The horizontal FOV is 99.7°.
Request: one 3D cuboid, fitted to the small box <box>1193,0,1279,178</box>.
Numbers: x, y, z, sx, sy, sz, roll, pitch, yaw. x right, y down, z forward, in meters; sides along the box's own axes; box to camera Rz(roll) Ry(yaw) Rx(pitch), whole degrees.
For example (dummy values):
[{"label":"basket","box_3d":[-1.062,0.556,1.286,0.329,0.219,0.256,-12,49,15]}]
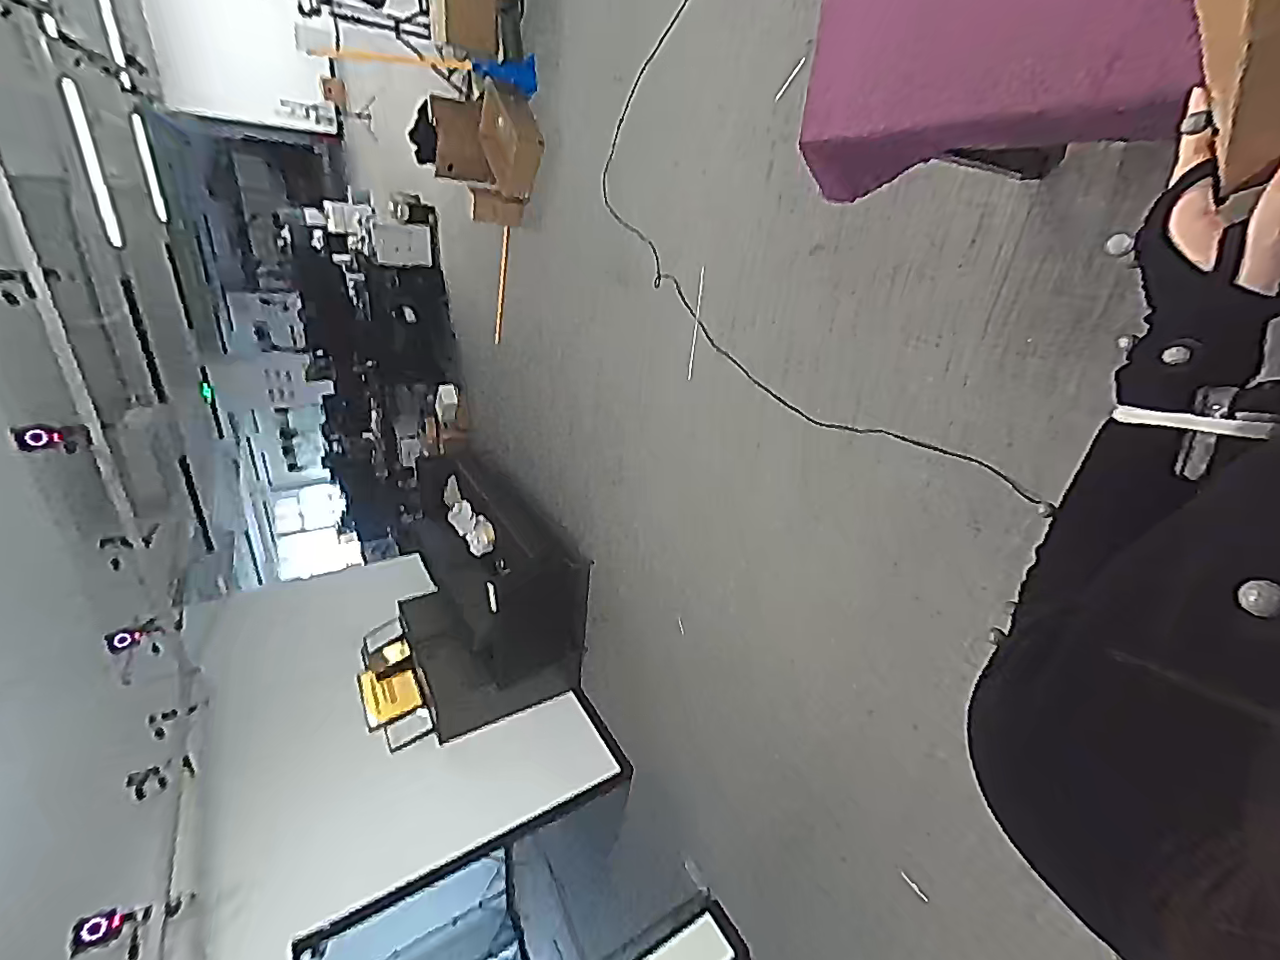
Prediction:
[{"label":"small box","box_3d":[0.354,-0.279,0.225,0.168,0.179,0.176,-4,83,44]}]
